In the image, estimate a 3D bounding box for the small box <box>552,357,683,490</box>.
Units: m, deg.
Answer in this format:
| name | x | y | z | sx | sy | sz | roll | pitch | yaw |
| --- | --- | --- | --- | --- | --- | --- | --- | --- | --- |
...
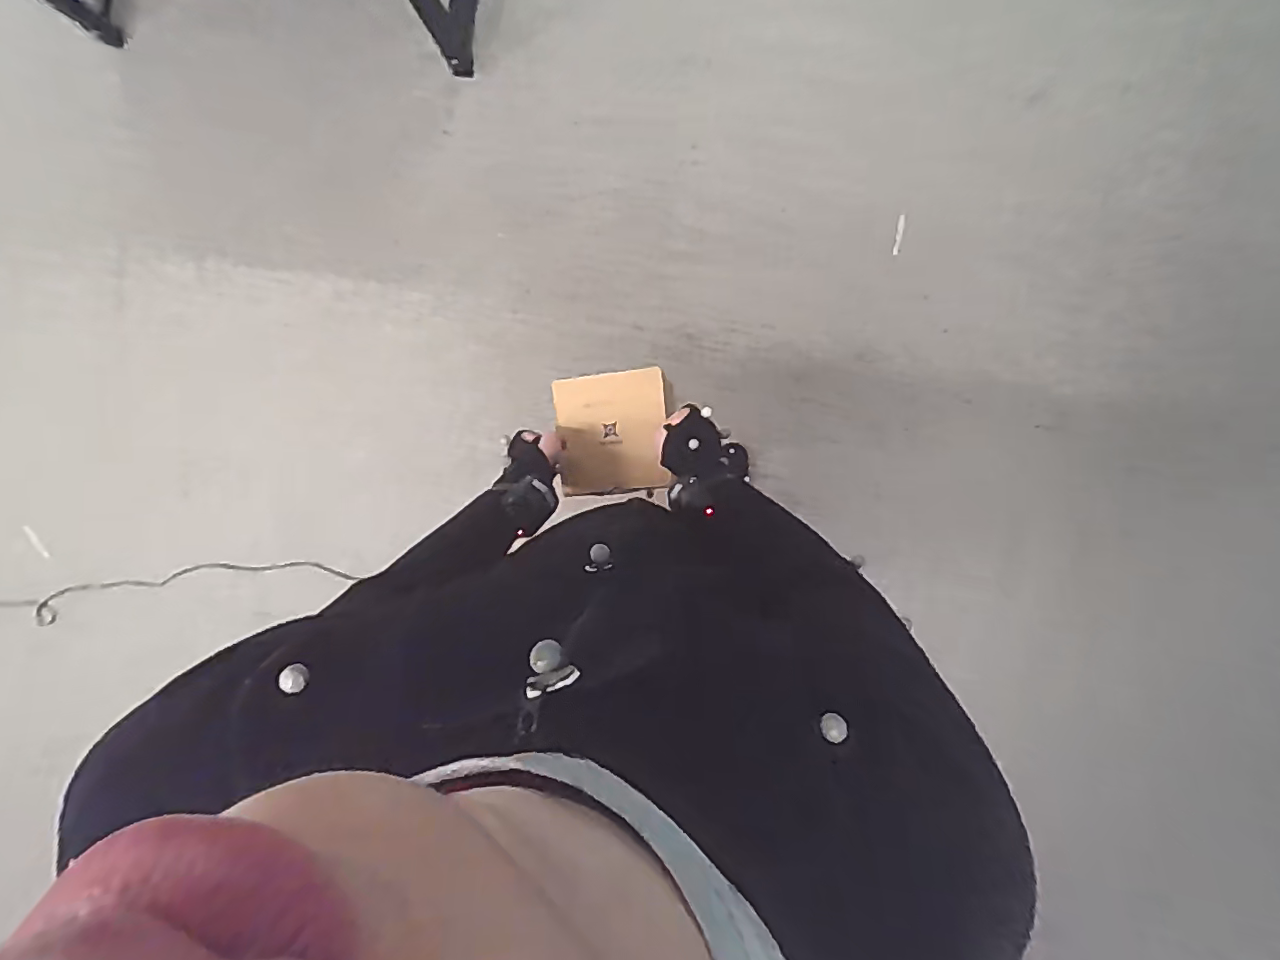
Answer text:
| name | x | y | z | sx | sy | sz | roll | pitch | yaw |
| --- | --- | --- | --- | --- | --- | --- | --- | --- | --- |
| small box | -0.027 | -0.082 | 0.857 | 0.168 | 0.176 | 0.179 | -7 | 90 | 9 |
